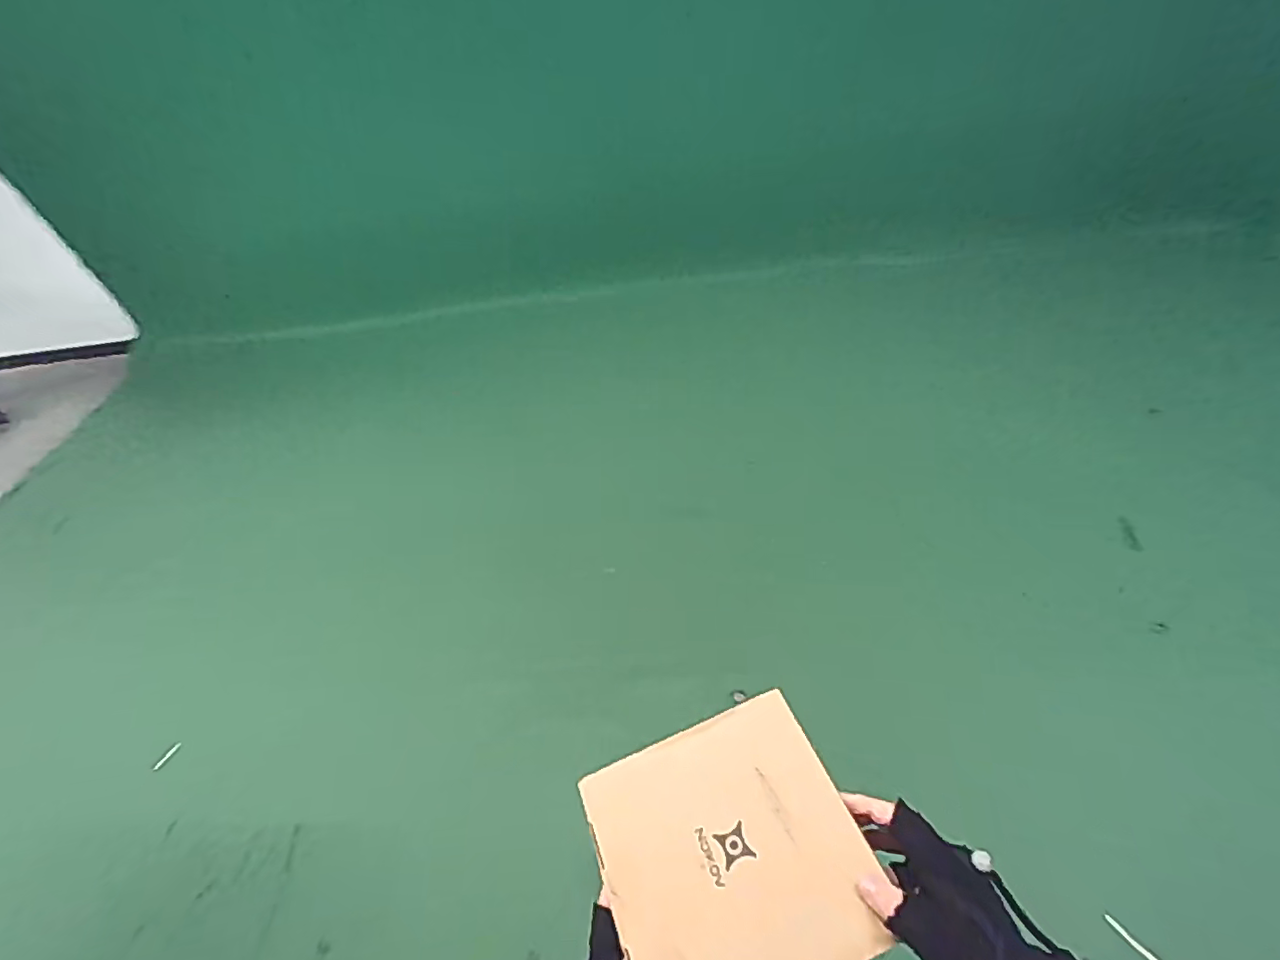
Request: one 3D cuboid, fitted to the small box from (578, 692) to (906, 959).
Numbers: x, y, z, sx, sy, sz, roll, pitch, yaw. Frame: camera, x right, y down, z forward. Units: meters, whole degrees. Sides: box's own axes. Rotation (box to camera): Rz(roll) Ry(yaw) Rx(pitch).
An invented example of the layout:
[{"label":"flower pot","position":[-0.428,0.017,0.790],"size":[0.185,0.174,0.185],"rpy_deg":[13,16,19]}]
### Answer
[{"label":"small box","position":[0.072,0.308,0.432],"size":[0.179,0.176,0.168],"rpy_deg":[-22,49,-8]}]
